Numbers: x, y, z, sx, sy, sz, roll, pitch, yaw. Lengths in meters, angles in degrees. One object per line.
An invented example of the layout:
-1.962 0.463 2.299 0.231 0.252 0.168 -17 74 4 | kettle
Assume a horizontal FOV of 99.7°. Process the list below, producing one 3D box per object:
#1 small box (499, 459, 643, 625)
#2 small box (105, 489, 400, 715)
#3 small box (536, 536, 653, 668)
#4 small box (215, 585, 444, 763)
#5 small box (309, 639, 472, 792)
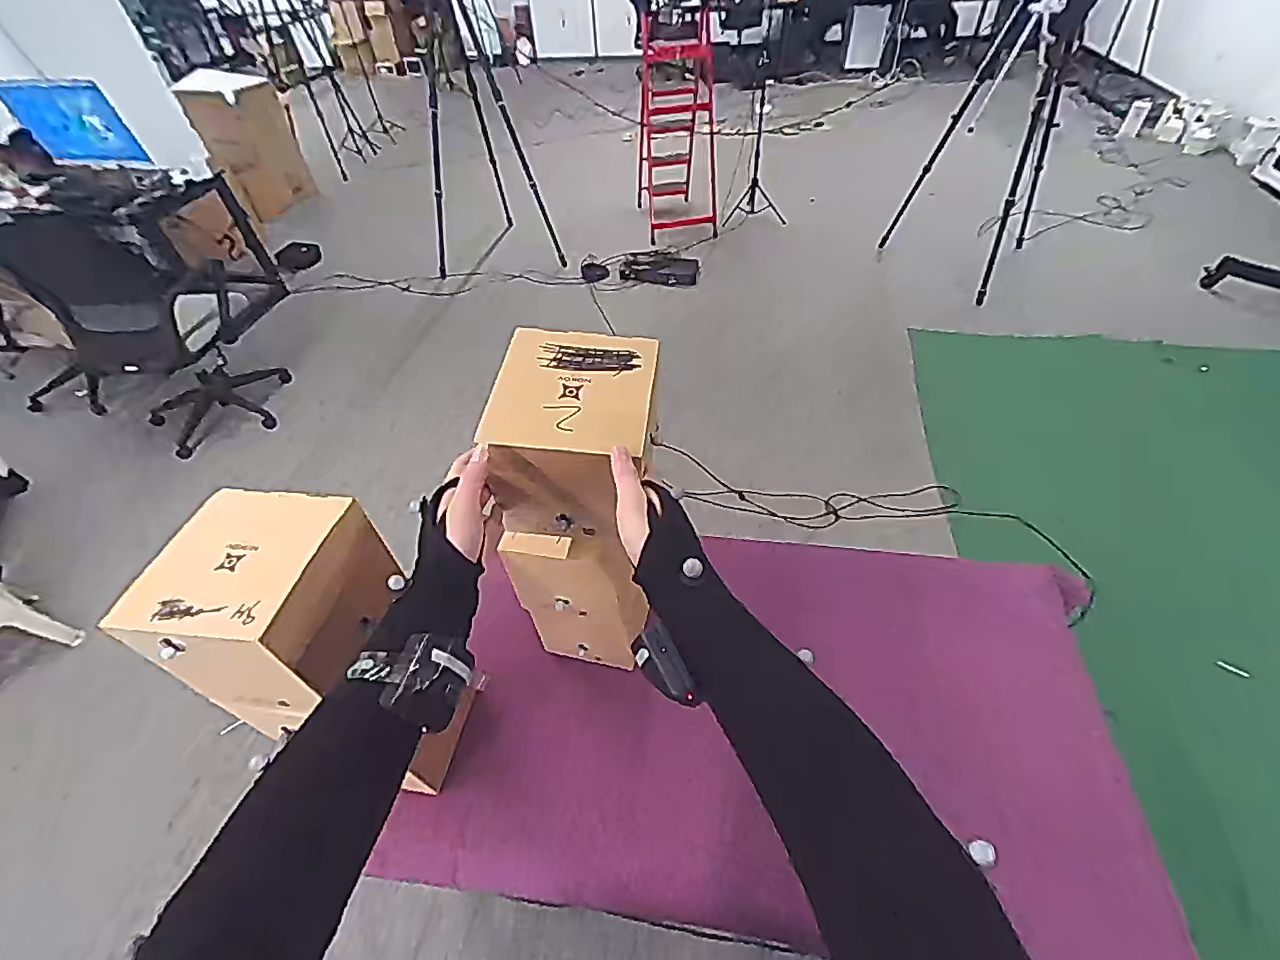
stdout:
-0.092 0.095 0.831 0.168 0.176 0.179 7 49 11 | small box
-0.395 0.132 0.598 0.168 0.176 0.179 2 45 9 | small box
-0.076 0.202 0.954 0.168 0.176 0.179 9 49 12 | small box
-0.385 0.249 0.713 0.168 0.176 0.179 5 46 10 | small box
-0.379 0.355 0.836 0.168 0.176 0.179 5 48 9 | small box
